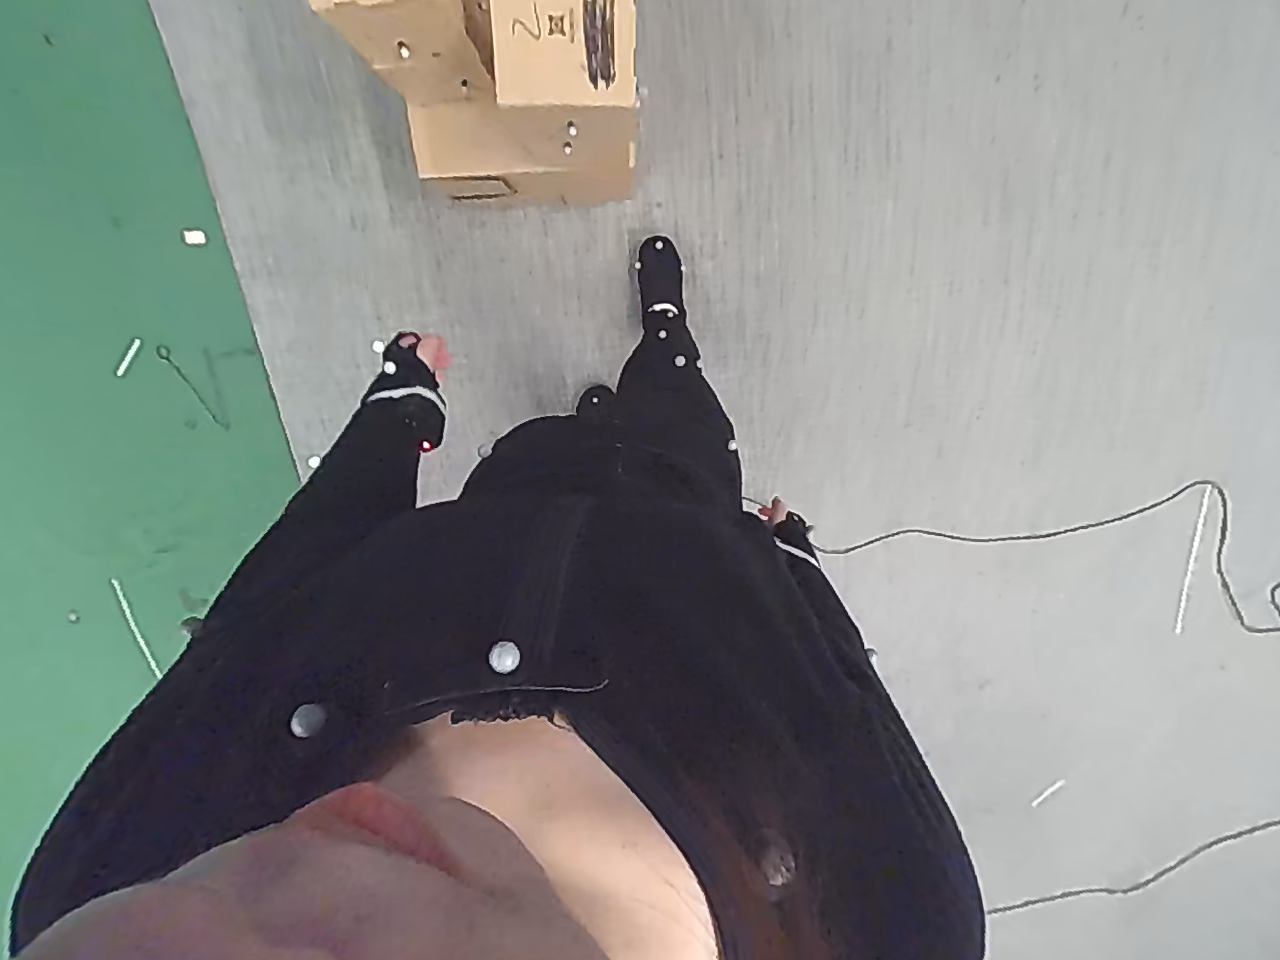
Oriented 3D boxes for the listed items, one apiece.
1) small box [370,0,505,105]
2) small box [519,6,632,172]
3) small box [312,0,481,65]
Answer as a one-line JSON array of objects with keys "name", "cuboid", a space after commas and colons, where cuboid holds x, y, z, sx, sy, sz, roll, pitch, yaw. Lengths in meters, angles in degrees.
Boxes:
[{"name": "small box", "cuboid": [-0.320, -0.720, 0.856, 0.168, 0.176, 0.179, -2, 106, 1]}, {"name": "small box", "cuboid": [-0.097, -0.625, 0.883, 0.168, 0.176, 0.179, -1, 106, 0]}, {"name": "small box", "cuboid": [-0.315, -0.676, 0.698, 0.168, 0.176, 0.179, -2, 108, 1]}]
